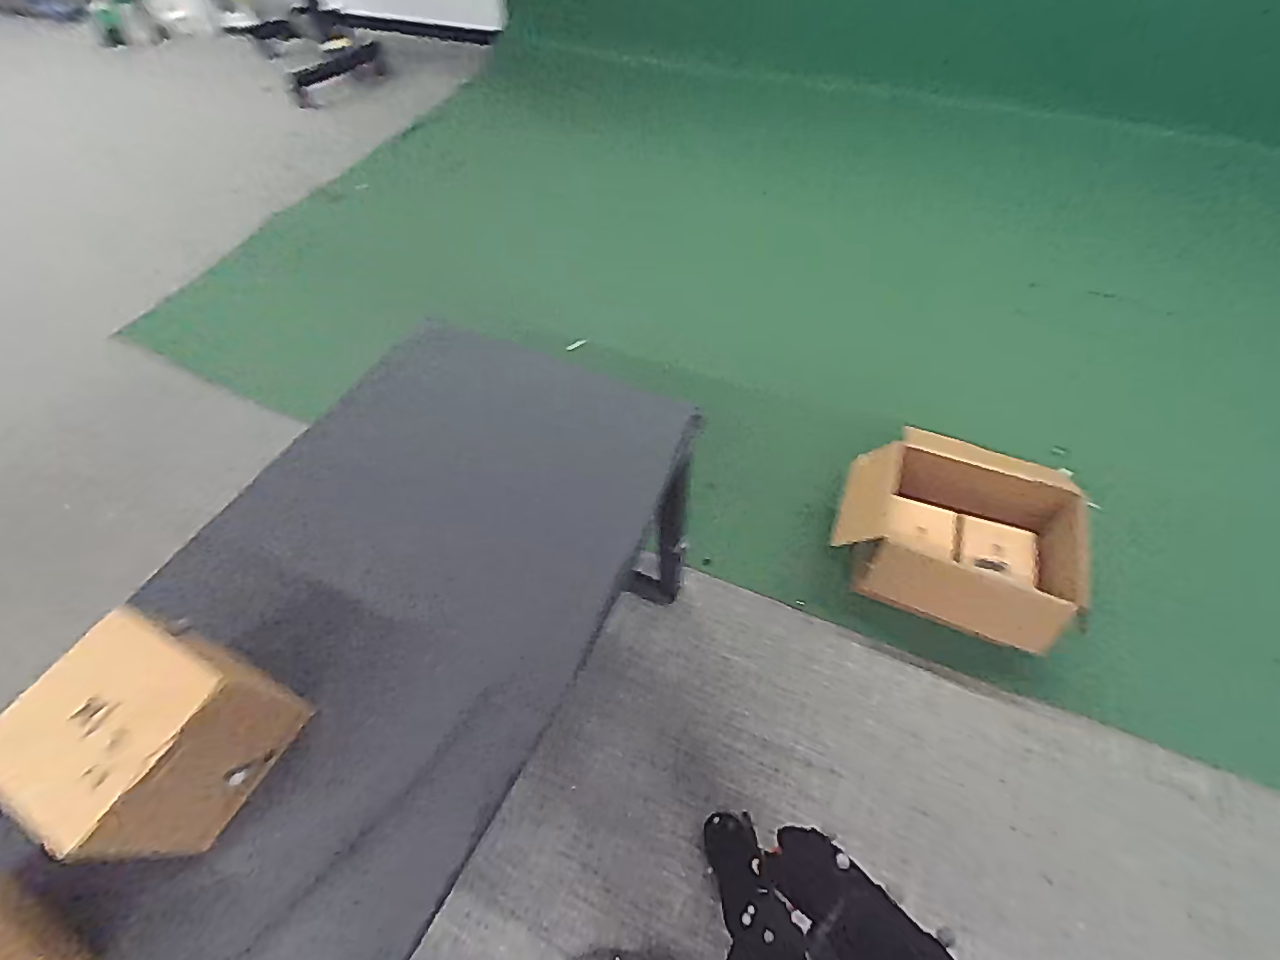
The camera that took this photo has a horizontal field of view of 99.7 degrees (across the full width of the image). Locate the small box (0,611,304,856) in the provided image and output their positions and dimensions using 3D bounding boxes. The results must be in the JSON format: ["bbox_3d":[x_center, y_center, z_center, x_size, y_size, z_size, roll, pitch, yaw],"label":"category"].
[{"bbox_3d":[-0.523,0.275,0.586,0.179,0.176,0.168,23,61,16],"label":"small box"}]
